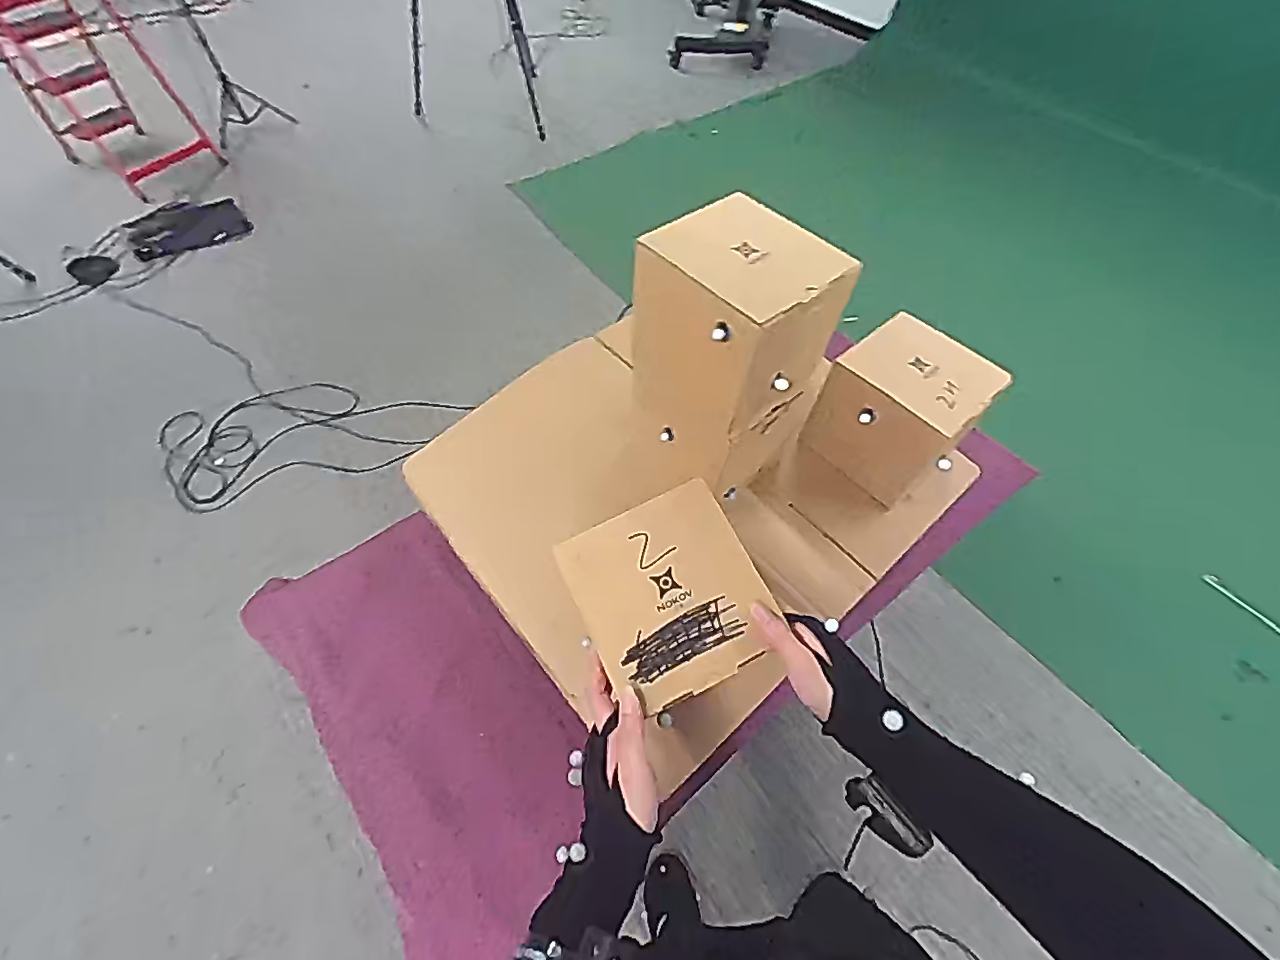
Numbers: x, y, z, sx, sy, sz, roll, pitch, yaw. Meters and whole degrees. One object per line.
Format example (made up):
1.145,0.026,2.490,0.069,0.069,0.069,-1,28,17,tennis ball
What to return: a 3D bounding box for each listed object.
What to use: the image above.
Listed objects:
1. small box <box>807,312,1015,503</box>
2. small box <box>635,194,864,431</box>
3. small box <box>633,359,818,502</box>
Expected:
0.371,-0.100,0.774,0.168,0.176,0.179,-35,65,-23,small box
0.109,-0.189,0.621,0.168,0.176,0.179,-36,65,-25,small box
0.107,-0.093,0.752,0.168,0.176,0.179,-35,64,-25,small box
